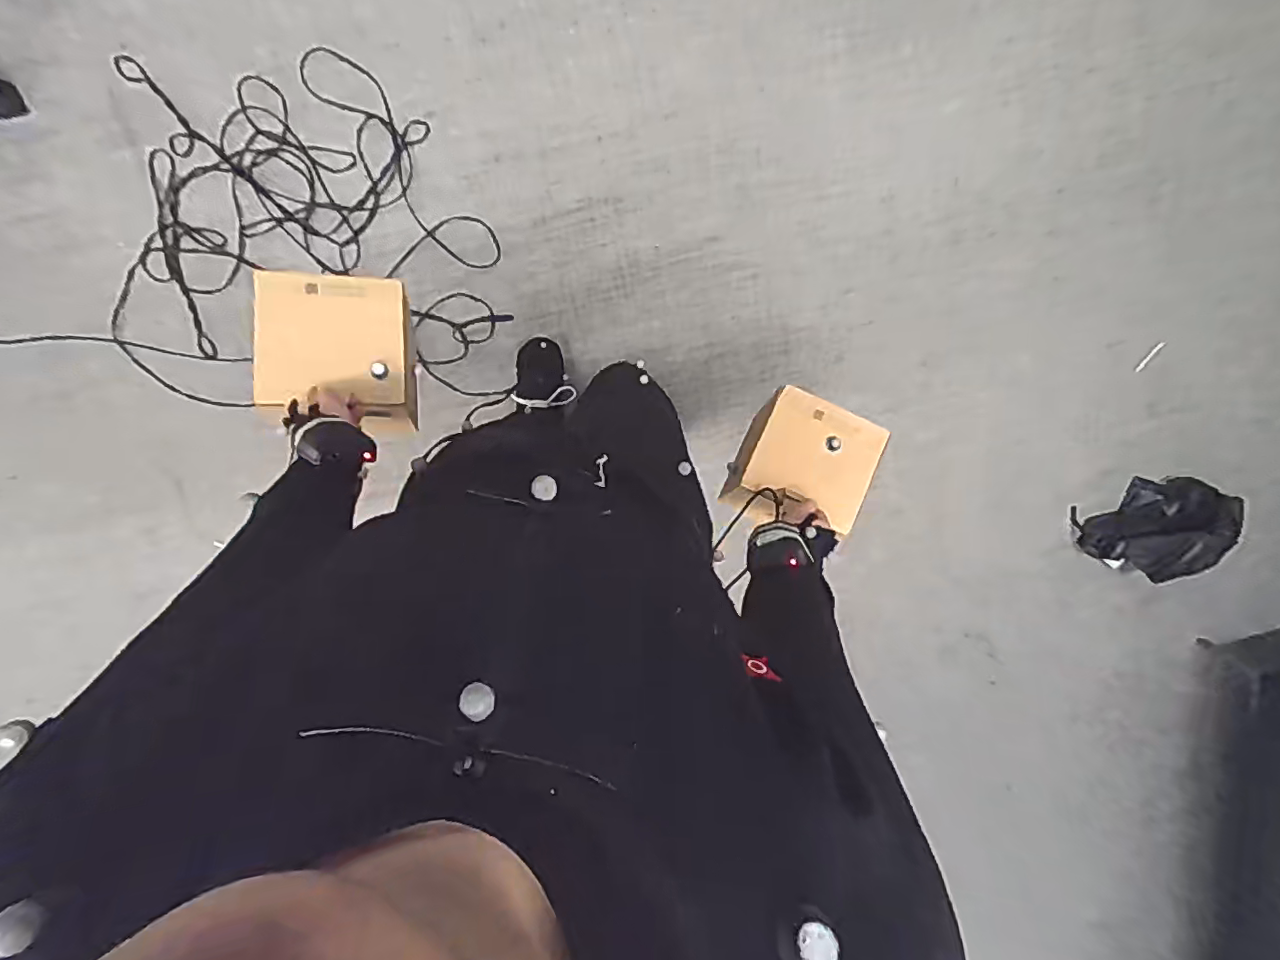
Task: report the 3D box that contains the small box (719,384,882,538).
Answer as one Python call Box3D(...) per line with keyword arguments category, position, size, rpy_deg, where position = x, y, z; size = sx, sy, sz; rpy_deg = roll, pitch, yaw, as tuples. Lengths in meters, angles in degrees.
Box3D(category="small box", position=(0.240, -0.023, 0.831), size=(0.168, 0.179, 0.176), rpy_deg=(24, 82, 2))
